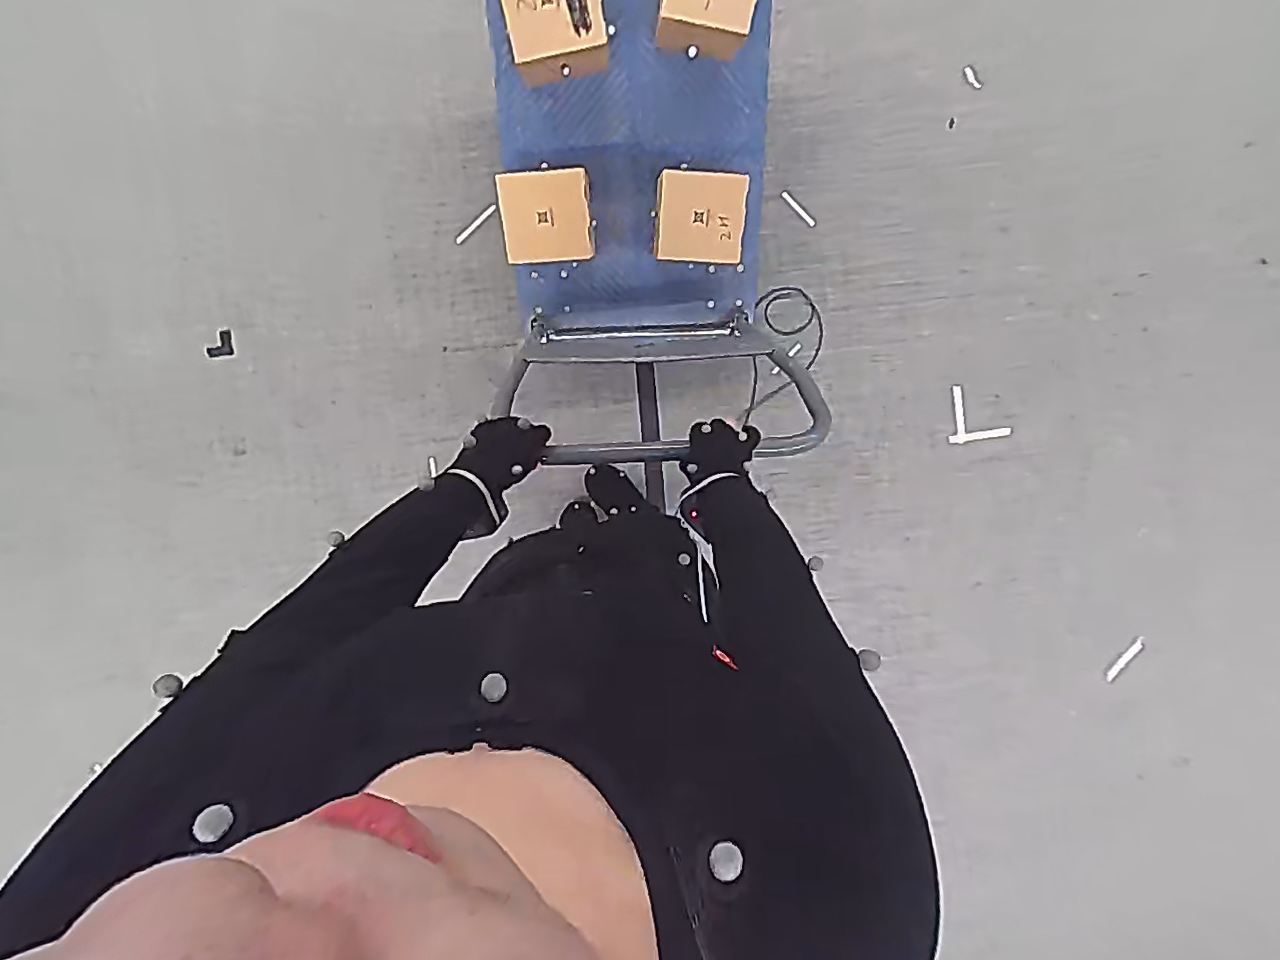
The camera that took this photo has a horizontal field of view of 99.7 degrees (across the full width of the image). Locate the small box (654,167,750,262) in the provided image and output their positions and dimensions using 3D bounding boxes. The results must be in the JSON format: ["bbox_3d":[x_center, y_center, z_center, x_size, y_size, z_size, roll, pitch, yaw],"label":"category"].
[{"bbox_3d":[0.123,-0.564,1.165,0.179,0.176,0.168,2,114,-4],"label":"small box"}]

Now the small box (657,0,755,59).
[{"bbox_3d":[0.127,-0.928,1.008,0.168,0.176,0.179,8,114,-6],"label":"small box"}]

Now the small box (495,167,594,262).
[{"bbox_3d":[-0.194,-0.559,1.154,0.179,0.176,0.168,-6,114,-2],"label":"small box"}]
